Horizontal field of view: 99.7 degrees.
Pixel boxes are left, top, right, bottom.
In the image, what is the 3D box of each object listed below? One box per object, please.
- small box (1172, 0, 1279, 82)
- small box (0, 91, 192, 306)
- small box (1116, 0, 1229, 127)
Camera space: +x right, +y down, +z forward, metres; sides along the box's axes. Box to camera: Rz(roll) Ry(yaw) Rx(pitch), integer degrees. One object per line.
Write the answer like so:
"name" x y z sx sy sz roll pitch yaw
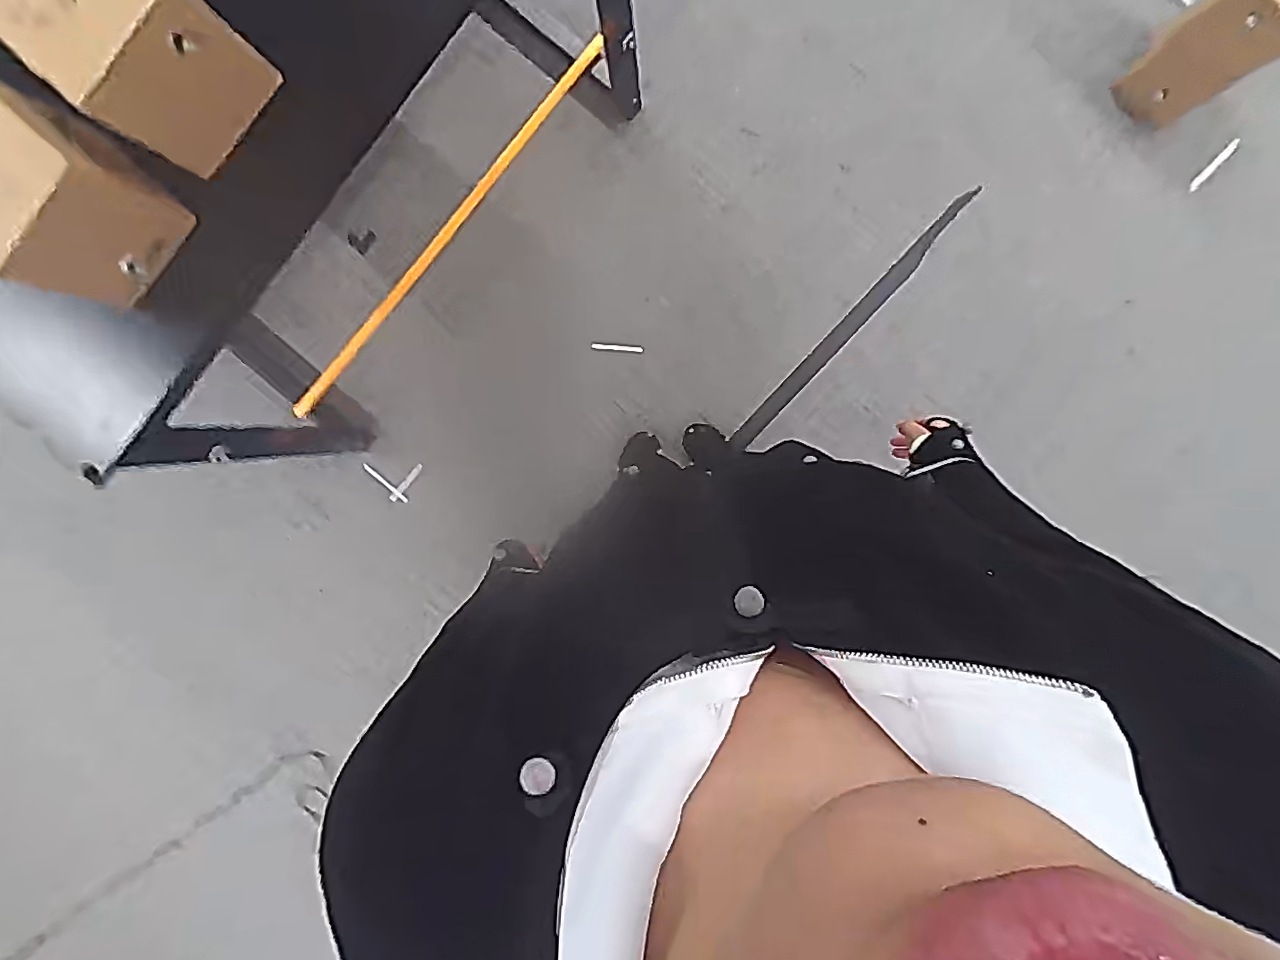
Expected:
"small box" 1.247 -0.955 1.079 0.179 0.176 0.168 39 96 -2
"small box" -0.735 -0.344 0.676 0.179 0.176 0.168 41 97 -2
"small box" 1.263 -0.970 1.244 0.168 0.176 0.179 39 97 -1
